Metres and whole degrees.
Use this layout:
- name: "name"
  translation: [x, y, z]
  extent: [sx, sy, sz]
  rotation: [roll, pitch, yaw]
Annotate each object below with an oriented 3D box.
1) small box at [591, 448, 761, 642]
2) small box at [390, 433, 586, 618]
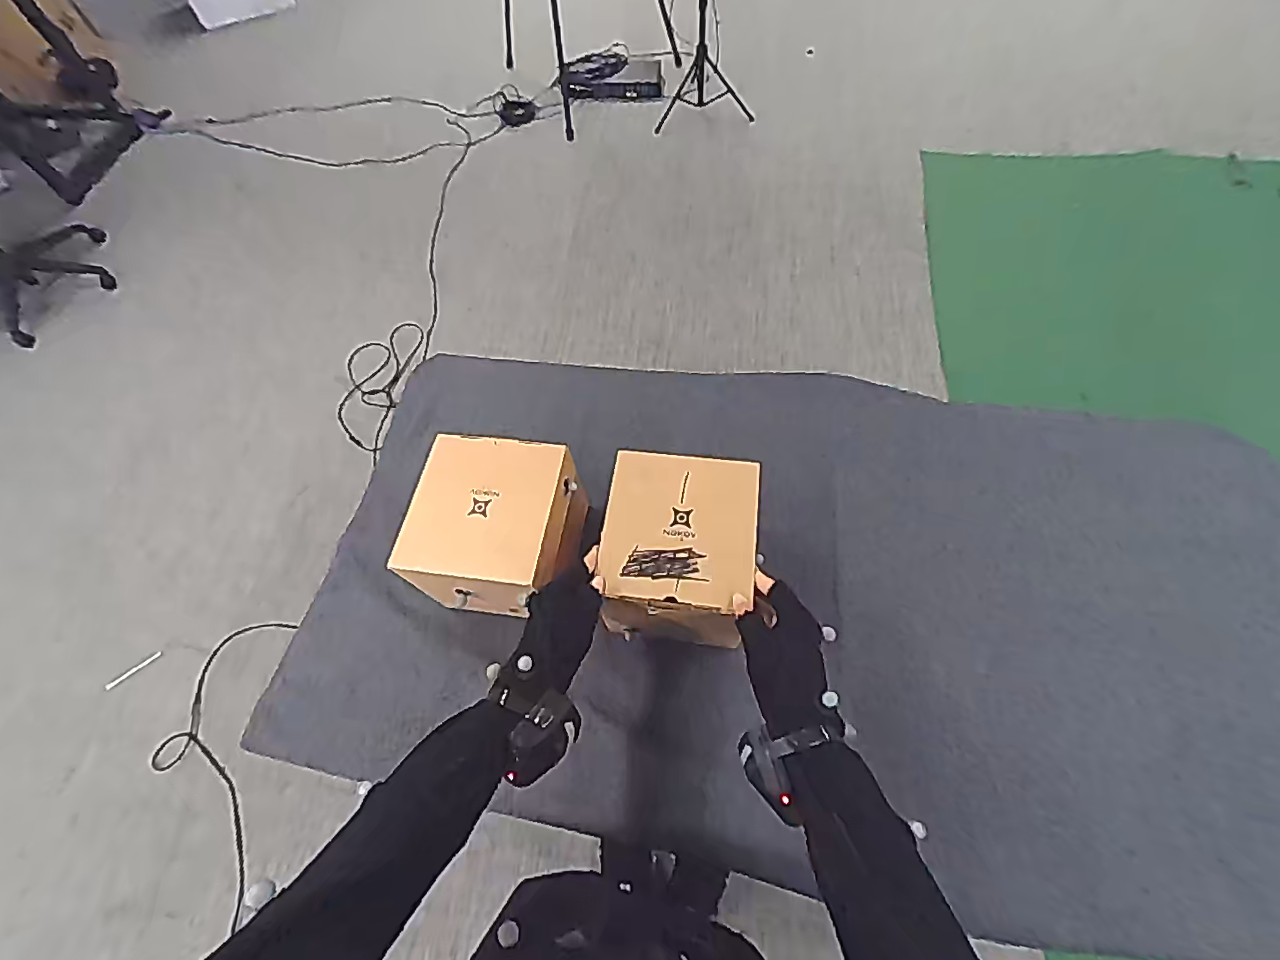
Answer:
- name: "small box"
  translation: [0.049, 0.084, 0.648]
  extent: [0.168, 0.176, 0.179]
  rotation: [6, 62, 8]
- name: "small box"
  translation: [-0.171, 0.063, 0.678]
  extent: [0.168, 0.176, 0.179]
  rotation: [5, 62, 7]
